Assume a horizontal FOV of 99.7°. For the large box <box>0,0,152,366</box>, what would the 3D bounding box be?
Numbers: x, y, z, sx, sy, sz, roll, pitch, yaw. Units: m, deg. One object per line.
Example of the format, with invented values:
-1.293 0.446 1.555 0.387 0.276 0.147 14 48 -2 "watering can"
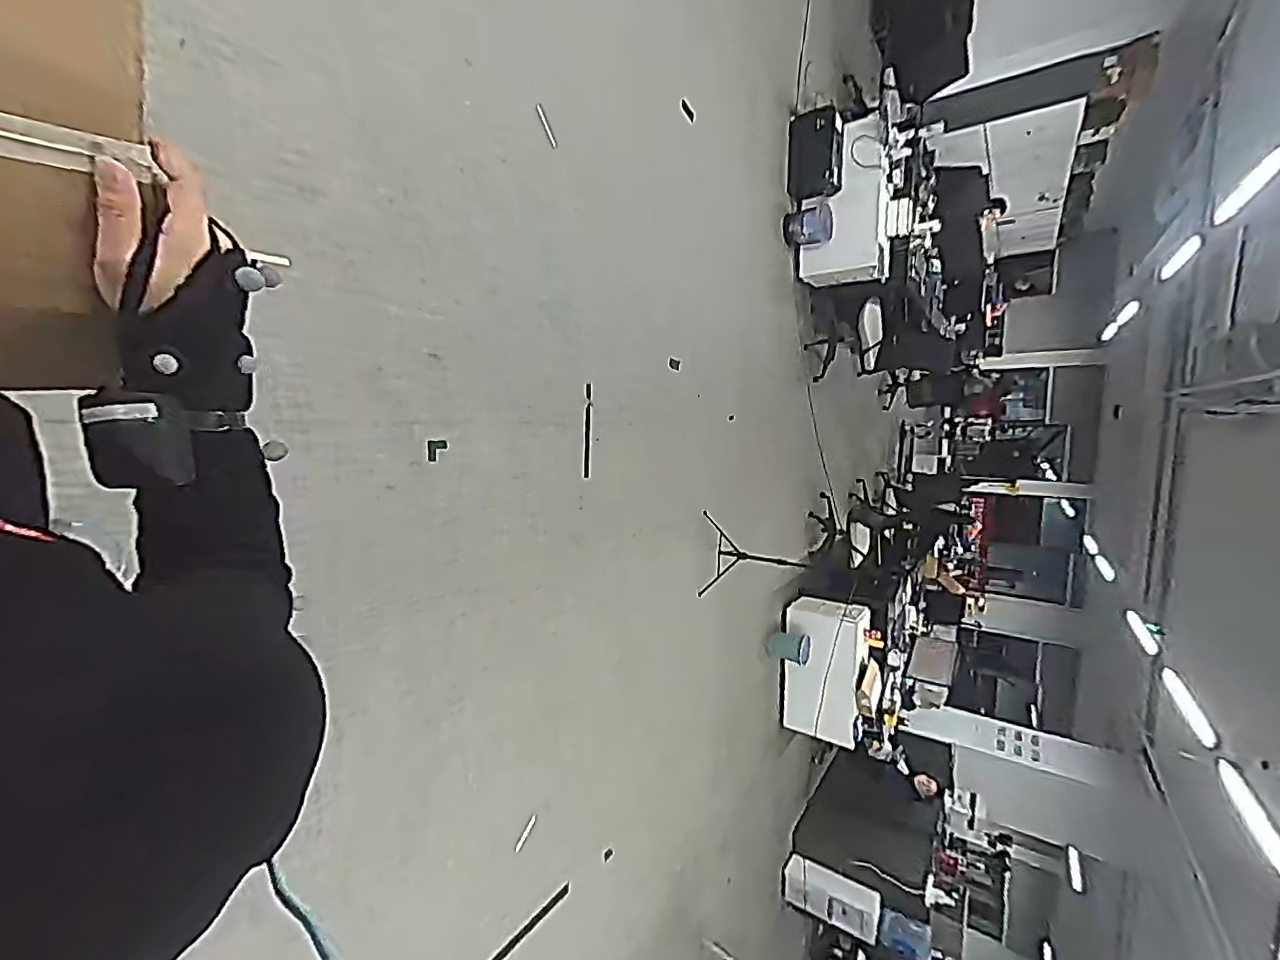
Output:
-0.524 -0.260 0.233 0.408 0.320 0.320 -15 143 -50 "large box"
